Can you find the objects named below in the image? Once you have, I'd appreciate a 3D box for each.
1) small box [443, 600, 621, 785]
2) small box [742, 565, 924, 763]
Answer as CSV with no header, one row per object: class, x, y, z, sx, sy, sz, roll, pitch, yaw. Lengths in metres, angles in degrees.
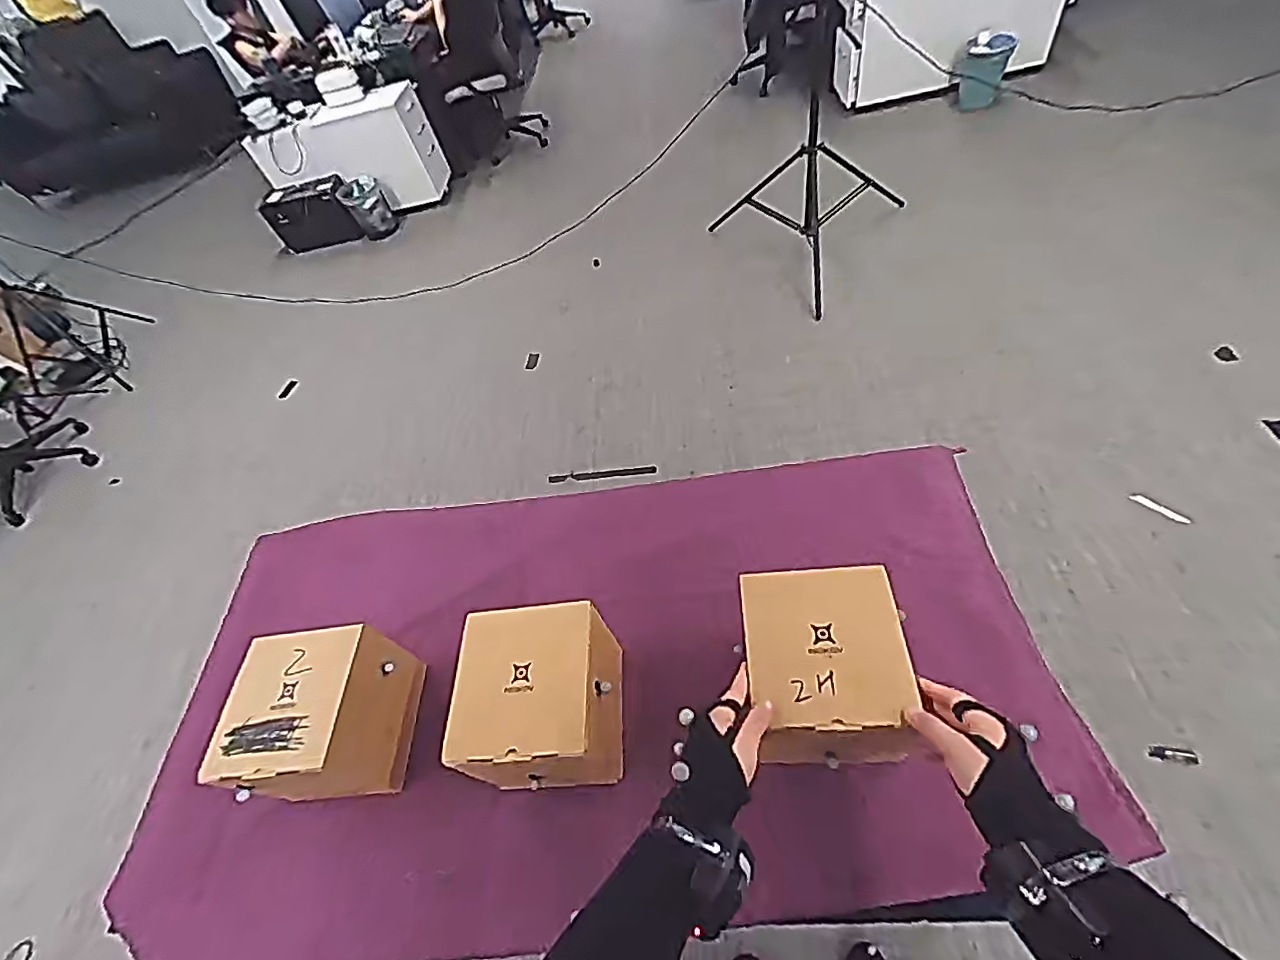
small box,-0.122,0.275,0.691,0.168,0.176,0.179,-8,53,8
small box,0.211,0.221,0.641,0.168,0.176,0.179,-6,52,11
